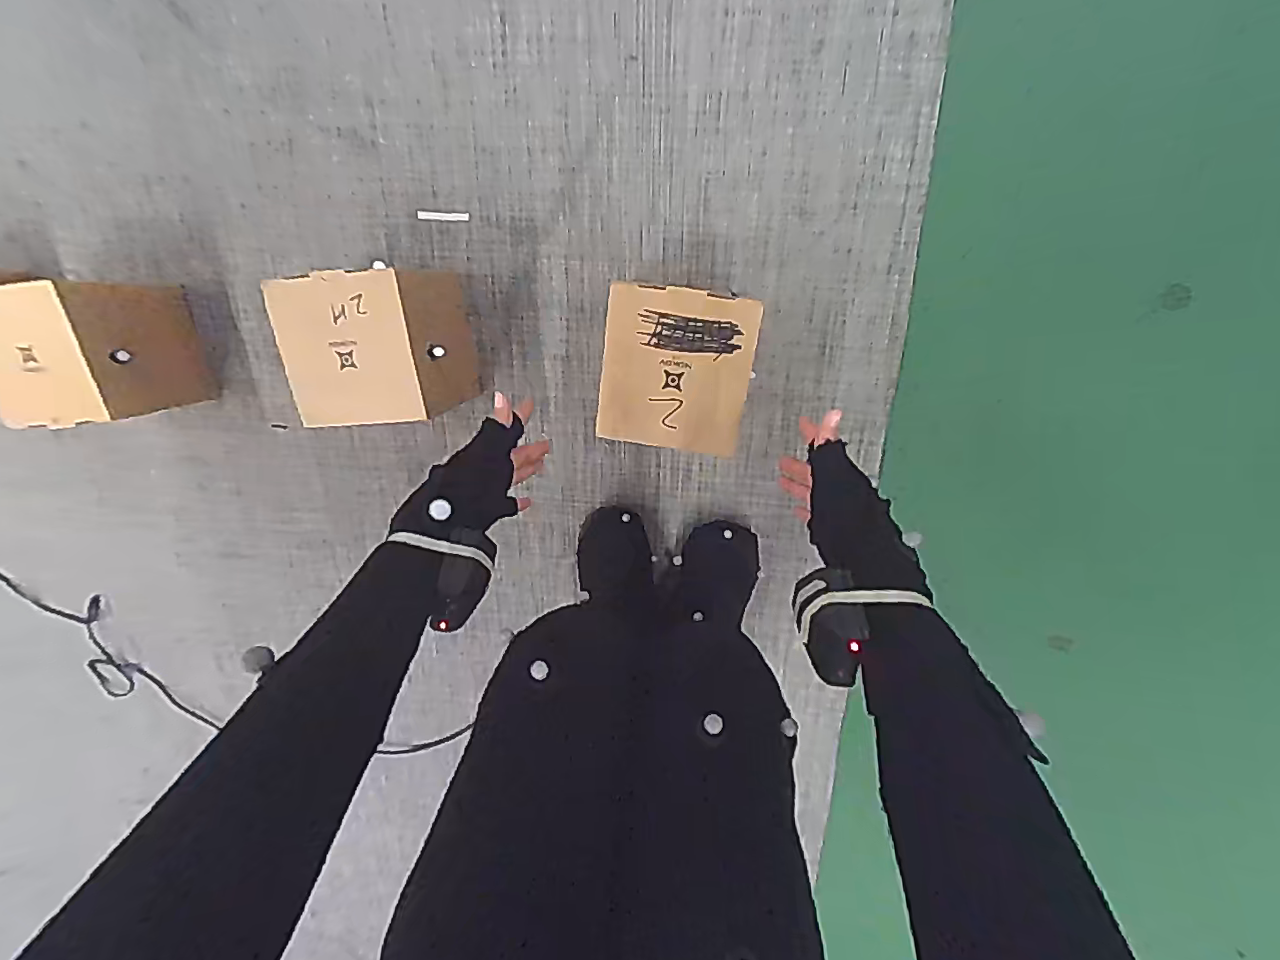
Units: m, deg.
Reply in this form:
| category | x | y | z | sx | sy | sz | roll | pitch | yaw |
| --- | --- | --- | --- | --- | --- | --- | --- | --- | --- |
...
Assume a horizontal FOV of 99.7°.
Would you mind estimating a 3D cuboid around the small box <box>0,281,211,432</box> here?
| category | x | y | z | sx | sy | sz | roll | pitch | yaw |
| --- | --- | --- | --- | --- | --- | --- | --- | --- | --- |
| small box | -0.755 | -0.174 | 0.746 | 0.168 | 0.176 | 0.179 | -3 | 109 | 8 |

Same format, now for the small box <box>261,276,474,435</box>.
| category | x | y | z | sx | sy | sz | roll | pitch | yaw |
| --- | --- | --- | --- | --- | --- | --- | --- | --- | --- |
| small box | -0.331 | -0.166 | 0.698 | 0.168 | 0.176 | 0.179 | -2 | 109 | 6 |
